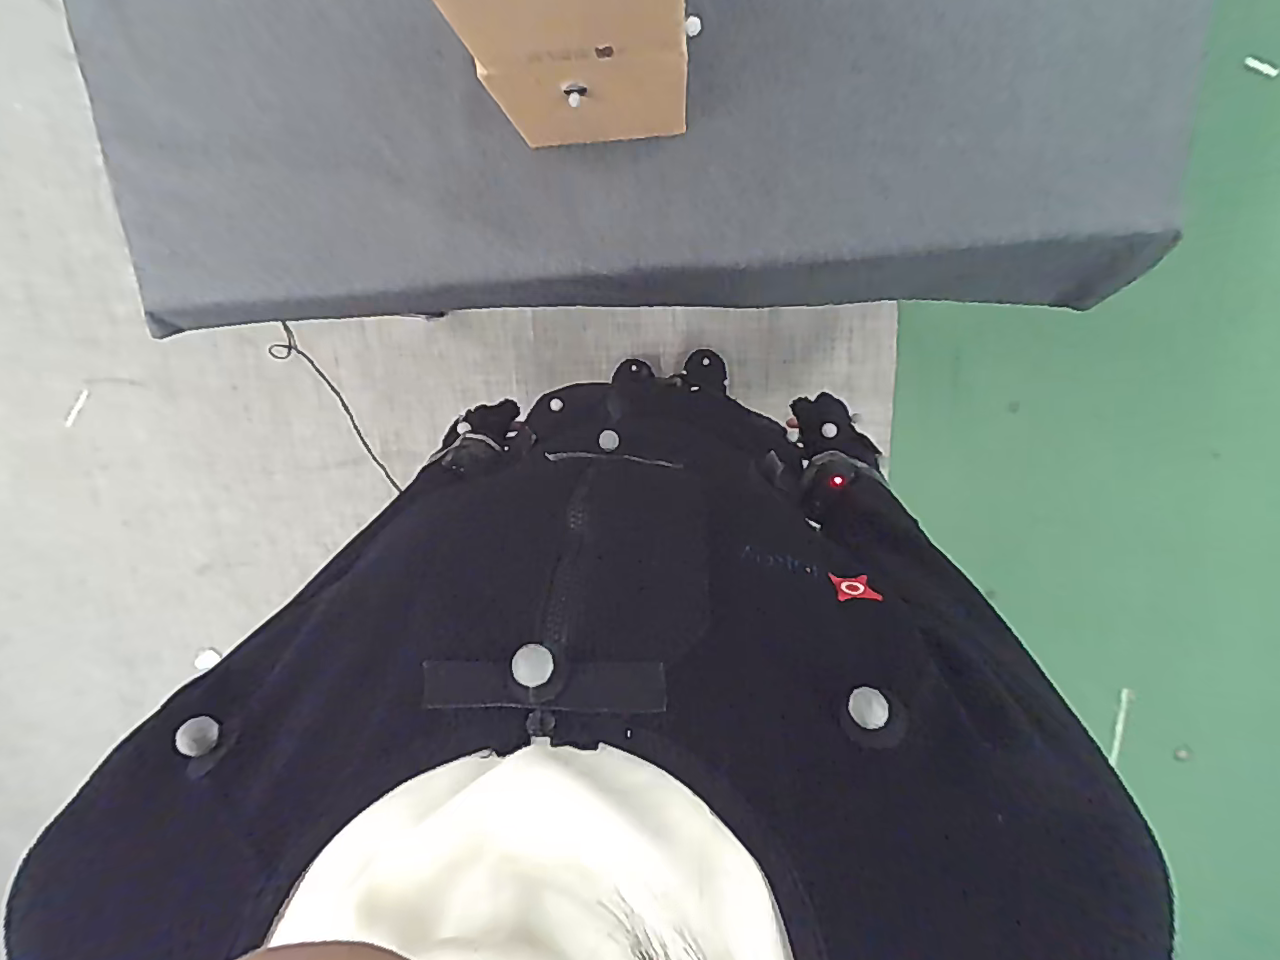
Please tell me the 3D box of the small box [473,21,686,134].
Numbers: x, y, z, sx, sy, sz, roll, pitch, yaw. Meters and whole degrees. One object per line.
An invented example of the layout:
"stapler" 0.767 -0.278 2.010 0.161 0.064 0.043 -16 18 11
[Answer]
"small box" -0.047 -0.447 0.505 0.179 0.176 0.168 -2 104 5

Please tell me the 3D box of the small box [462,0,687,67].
"small box" -0.054 -0.413 0.348 0.168 0.176 0.179 -3 104 4
